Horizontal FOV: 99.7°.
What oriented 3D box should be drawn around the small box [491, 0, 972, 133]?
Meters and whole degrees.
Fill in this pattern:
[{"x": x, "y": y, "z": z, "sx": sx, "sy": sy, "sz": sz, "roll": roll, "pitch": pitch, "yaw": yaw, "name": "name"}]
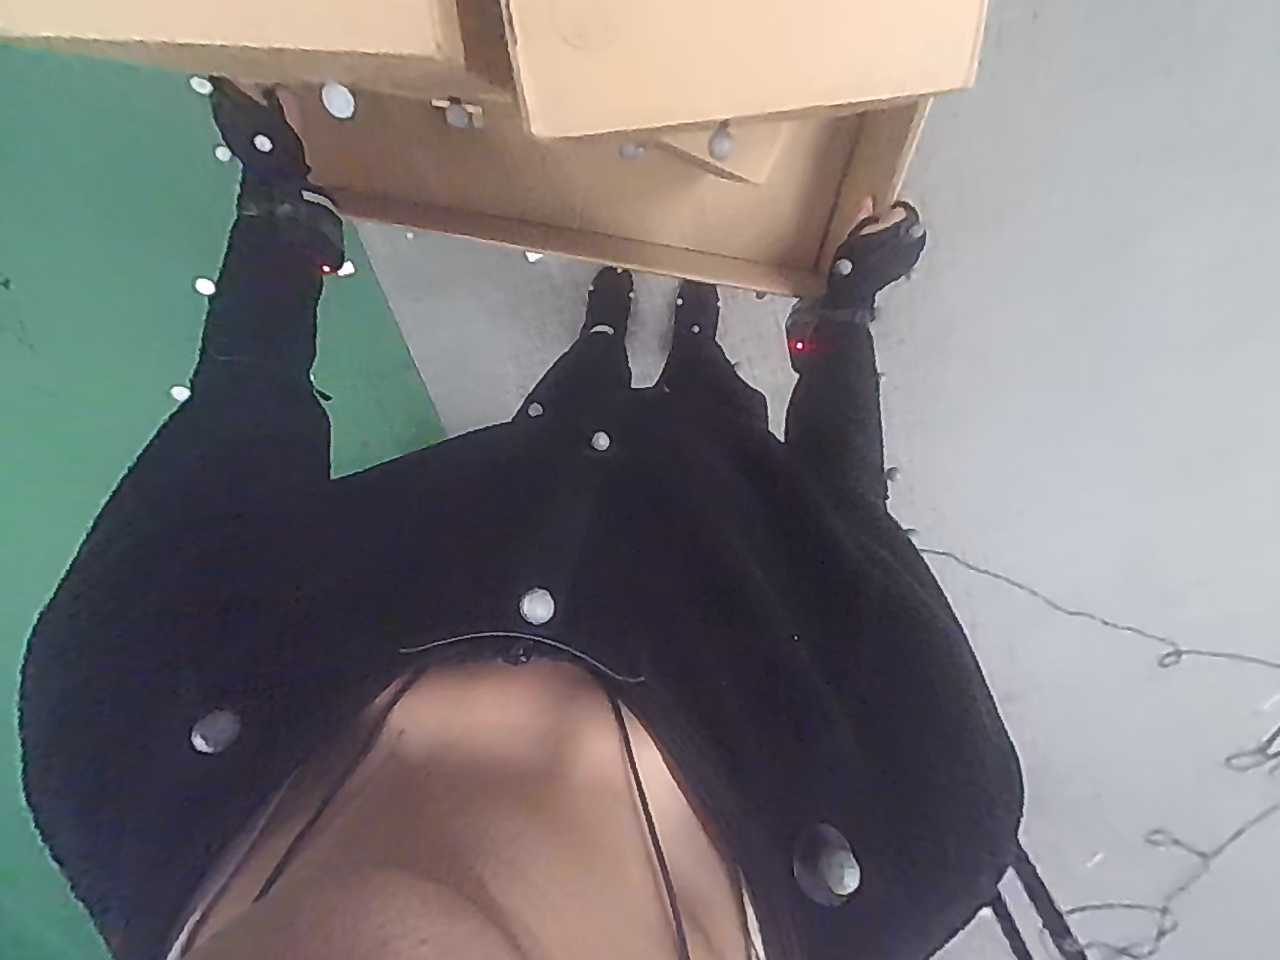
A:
[{"x": 0.031, "y": -0.260, "z": 0.238, "sx": 0.179, "sy": 0.176, "sz": 0.168, "roll": -4, "pitch": 121, "yaw": 4, "name": "small box"}]
